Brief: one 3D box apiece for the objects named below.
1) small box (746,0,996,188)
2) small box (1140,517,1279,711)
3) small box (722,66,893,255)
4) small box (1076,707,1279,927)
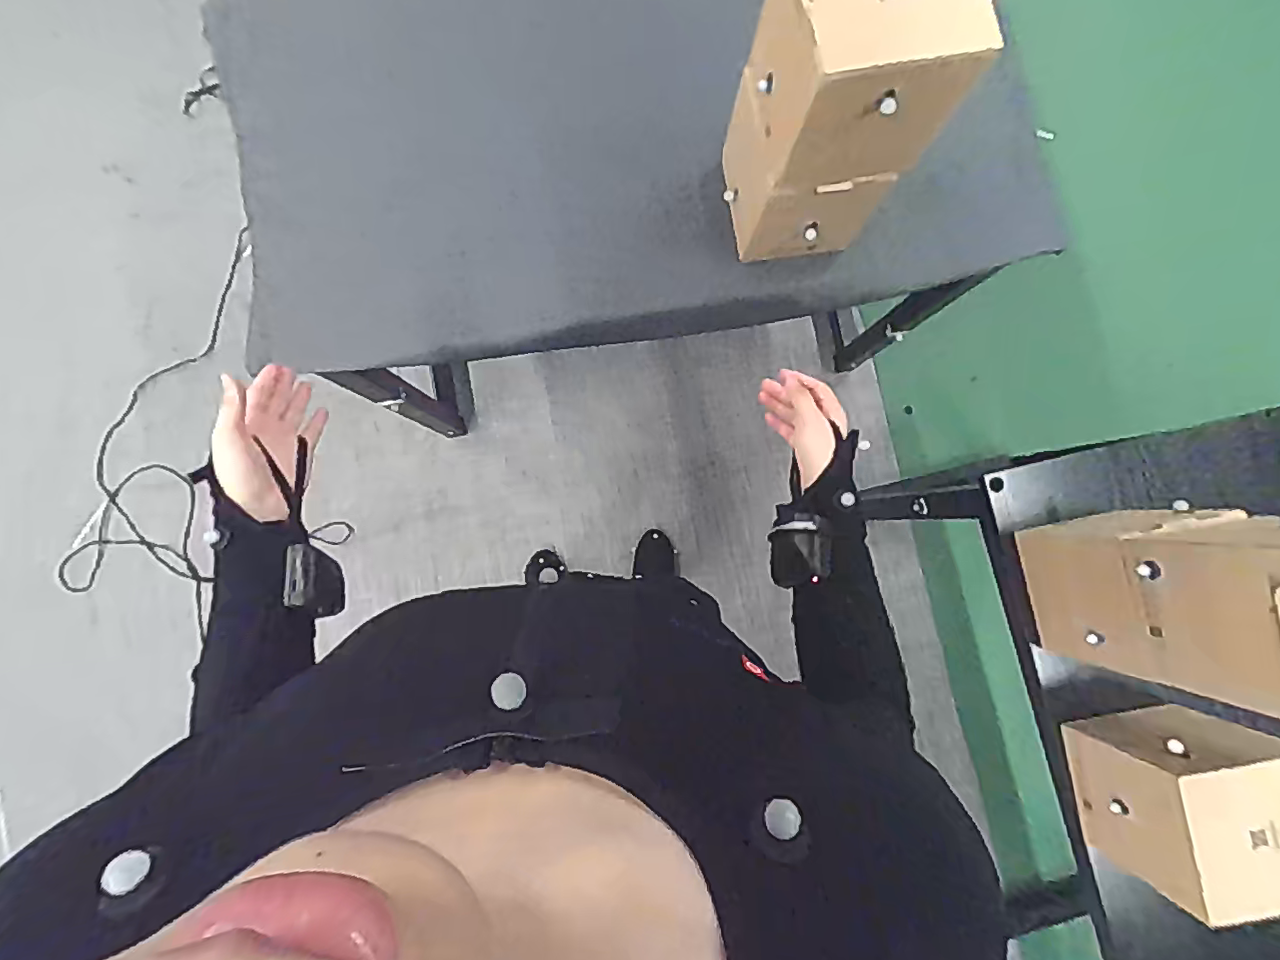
[{"bbox_3d":[0.228,-0.448,0.579,0.179,0.176,0.168,-11,84,-1],"label":"small box"},{"bbox_3d":[0.659,0.129,0.542,0.179,0.176,0.168,-9,87,-3],"label":"small box"},{"bbox_3d":[0.216,-0.429,0.741,0.168,0.176,0.179,-9,85,-2],"label":"small box"},{"bbox_3d":[0.702,0.408,0.685,0.179,0.176,0.168,-9,86,-2],"label":"small box"}]
